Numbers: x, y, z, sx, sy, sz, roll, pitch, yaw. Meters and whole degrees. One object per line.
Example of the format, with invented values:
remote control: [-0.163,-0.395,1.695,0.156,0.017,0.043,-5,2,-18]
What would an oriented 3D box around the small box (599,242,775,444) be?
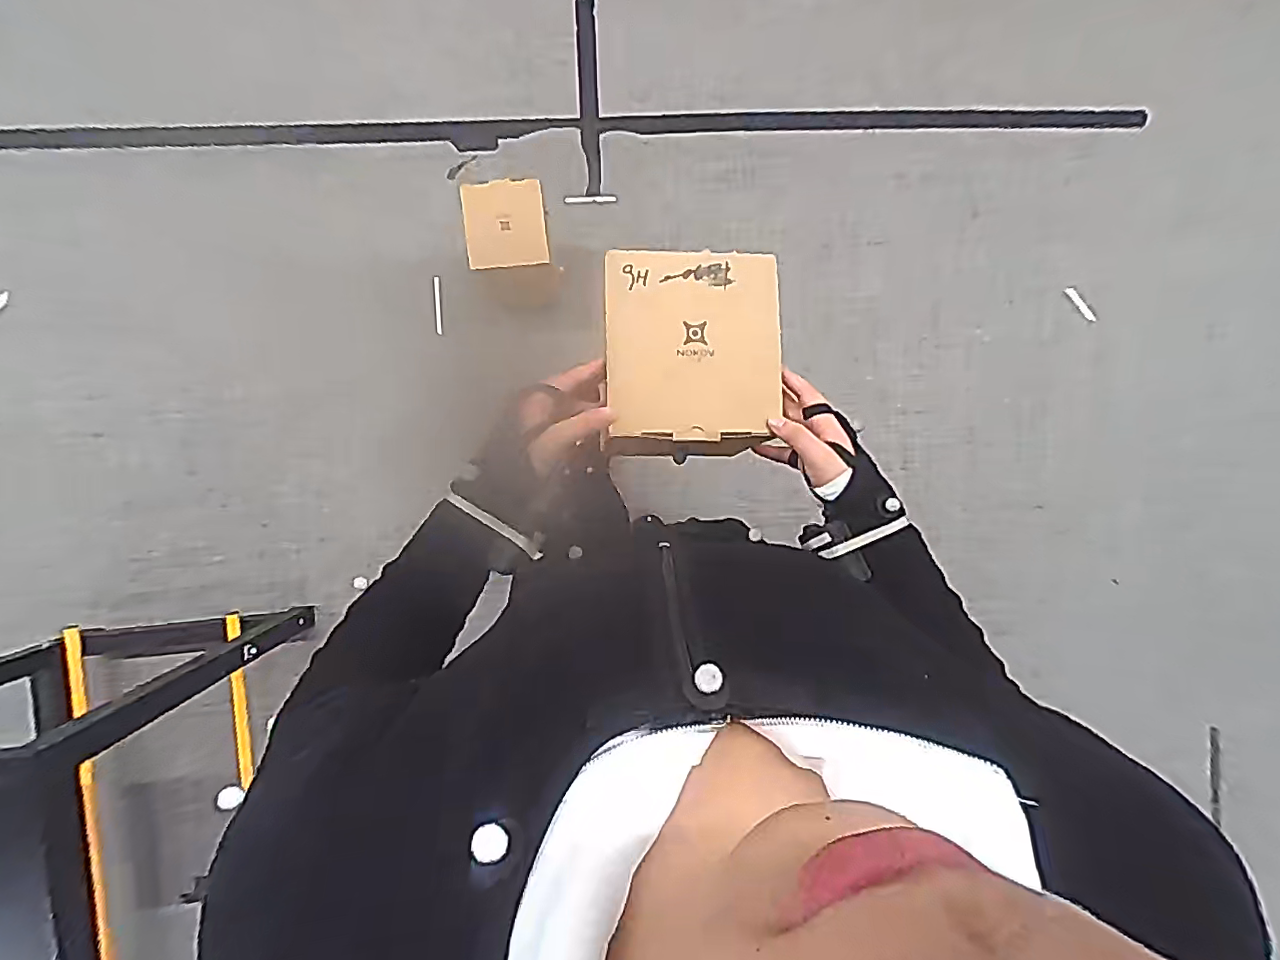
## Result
small box: [0.040,-0.132,0.582,0.168,0.176,0.179,-1,87,-5]

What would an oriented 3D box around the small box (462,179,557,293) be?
small box: [-0.280,-0.530,1.192,0.168,0.176,0.179,-7,94,-2]
